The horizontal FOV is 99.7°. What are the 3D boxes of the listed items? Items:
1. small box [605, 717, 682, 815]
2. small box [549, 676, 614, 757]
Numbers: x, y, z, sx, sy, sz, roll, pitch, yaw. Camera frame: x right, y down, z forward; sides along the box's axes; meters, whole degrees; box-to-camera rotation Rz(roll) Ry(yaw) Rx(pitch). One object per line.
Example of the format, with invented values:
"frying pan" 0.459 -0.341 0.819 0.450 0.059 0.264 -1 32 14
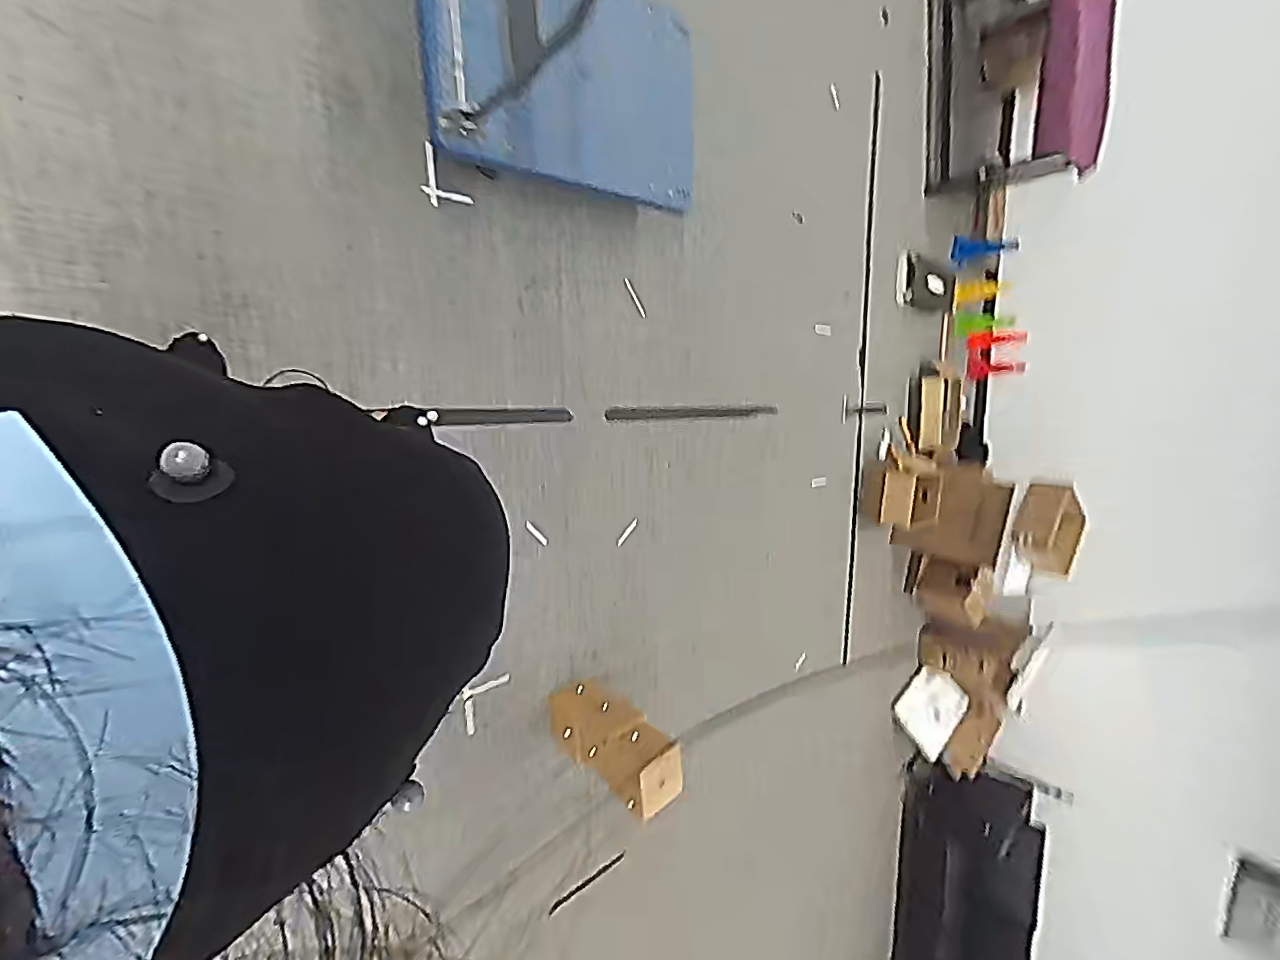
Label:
"small box" 0.010 0.873 1.667 0.168 0.176 0.179 -16 106 -40
"small box" -0.208 0.829 1.911 0.168 0.176 0.179 -11 103 -41
